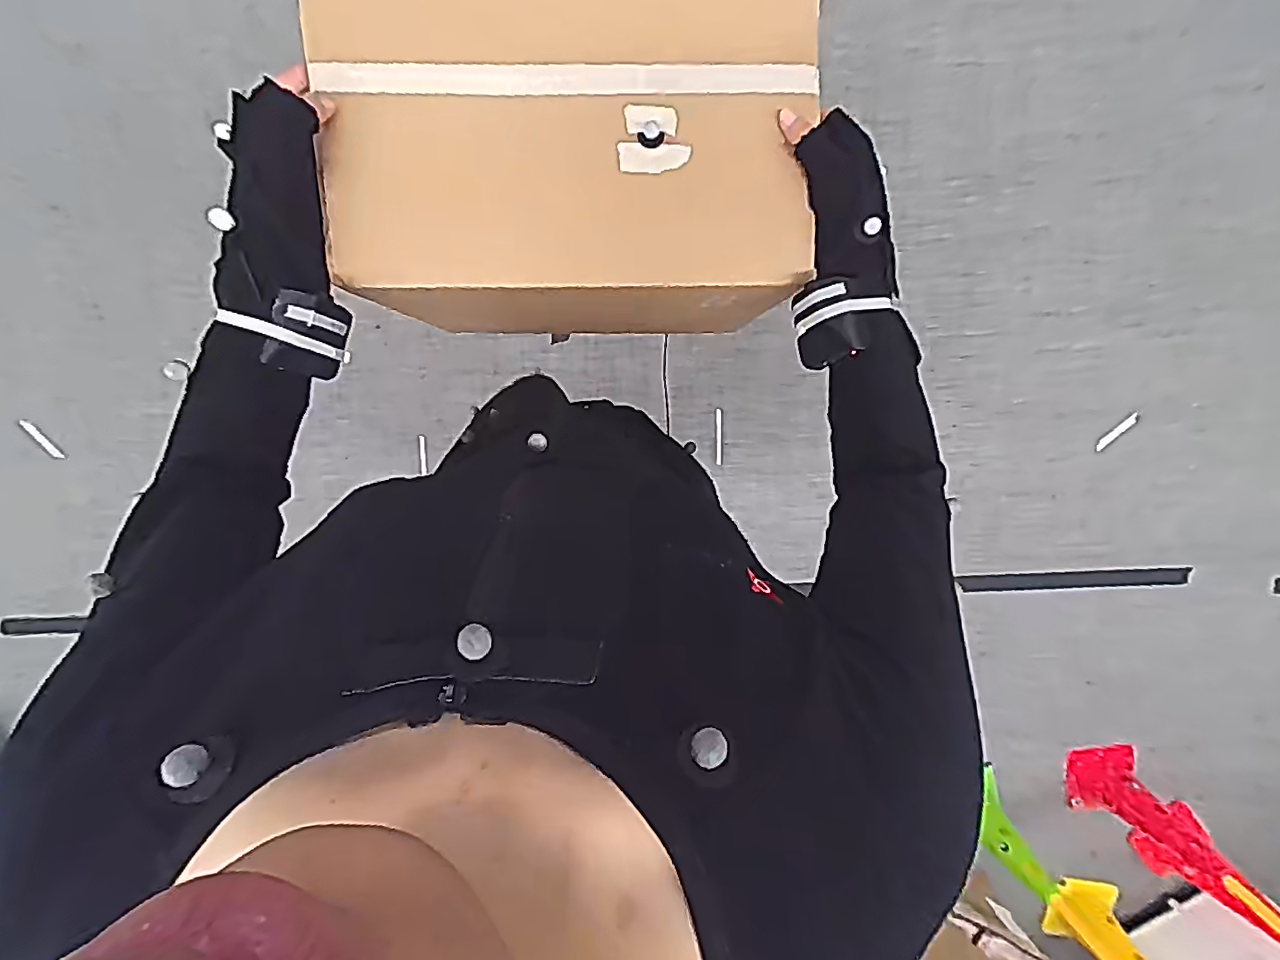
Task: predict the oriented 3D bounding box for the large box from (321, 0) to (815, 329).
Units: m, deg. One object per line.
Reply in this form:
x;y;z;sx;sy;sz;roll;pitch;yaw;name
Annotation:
-0.061;-0.348;0.588;0.408;0.320;0.320;-1;99;-2;large box
